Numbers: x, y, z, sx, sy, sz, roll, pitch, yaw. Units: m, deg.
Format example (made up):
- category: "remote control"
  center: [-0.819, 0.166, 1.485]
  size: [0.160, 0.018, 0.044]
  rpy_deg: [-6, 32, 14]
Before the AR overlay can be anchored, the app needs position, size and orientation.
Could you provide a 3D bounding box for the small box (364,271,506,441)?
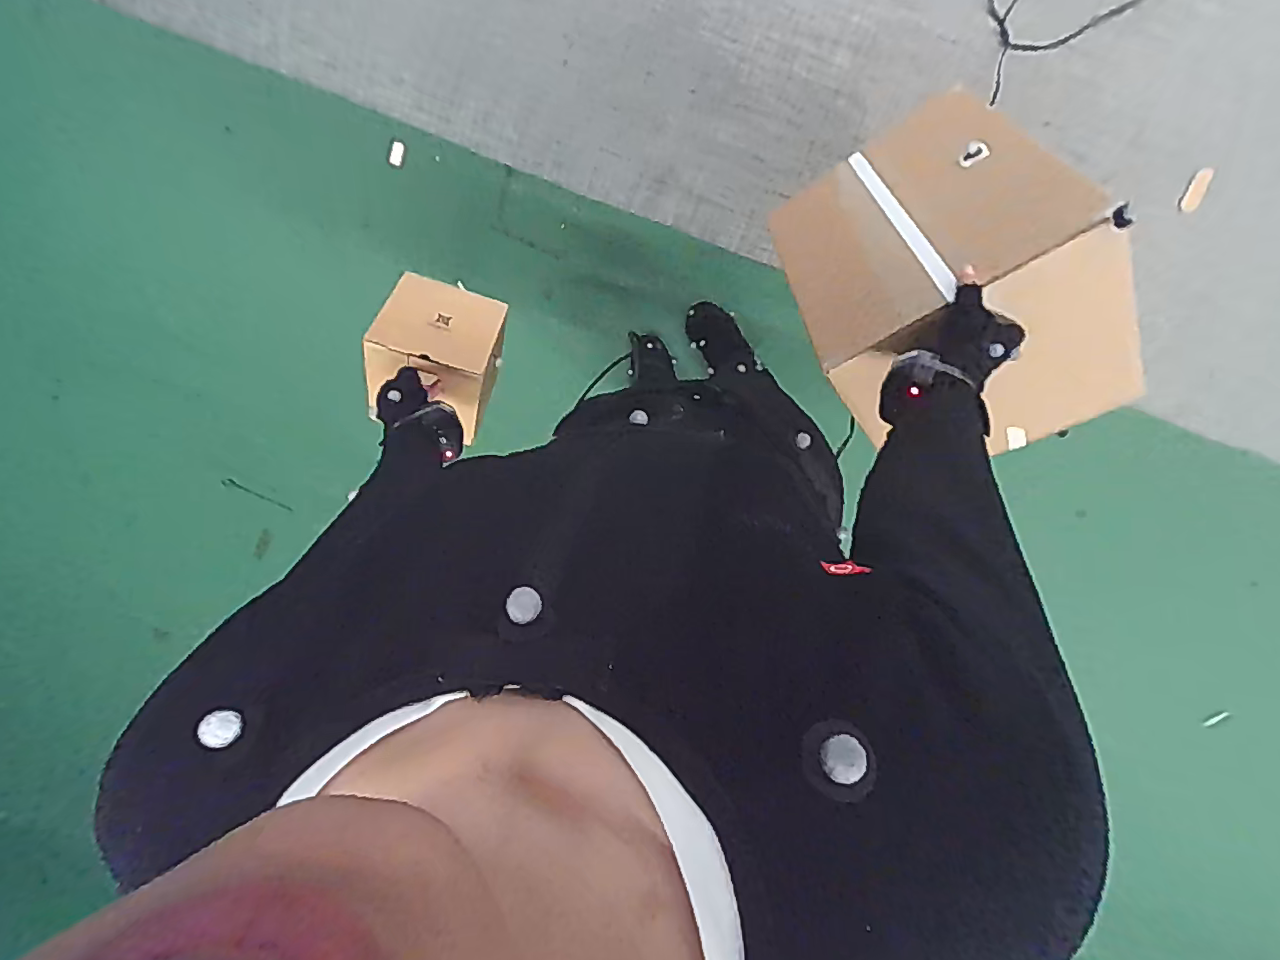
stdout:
- category: "small box"
  center: [-0.332, -0.195, 0.878]
  size: [0.168, 0.179, 0.176]
  rpy_deg: [17, 142, -14]
